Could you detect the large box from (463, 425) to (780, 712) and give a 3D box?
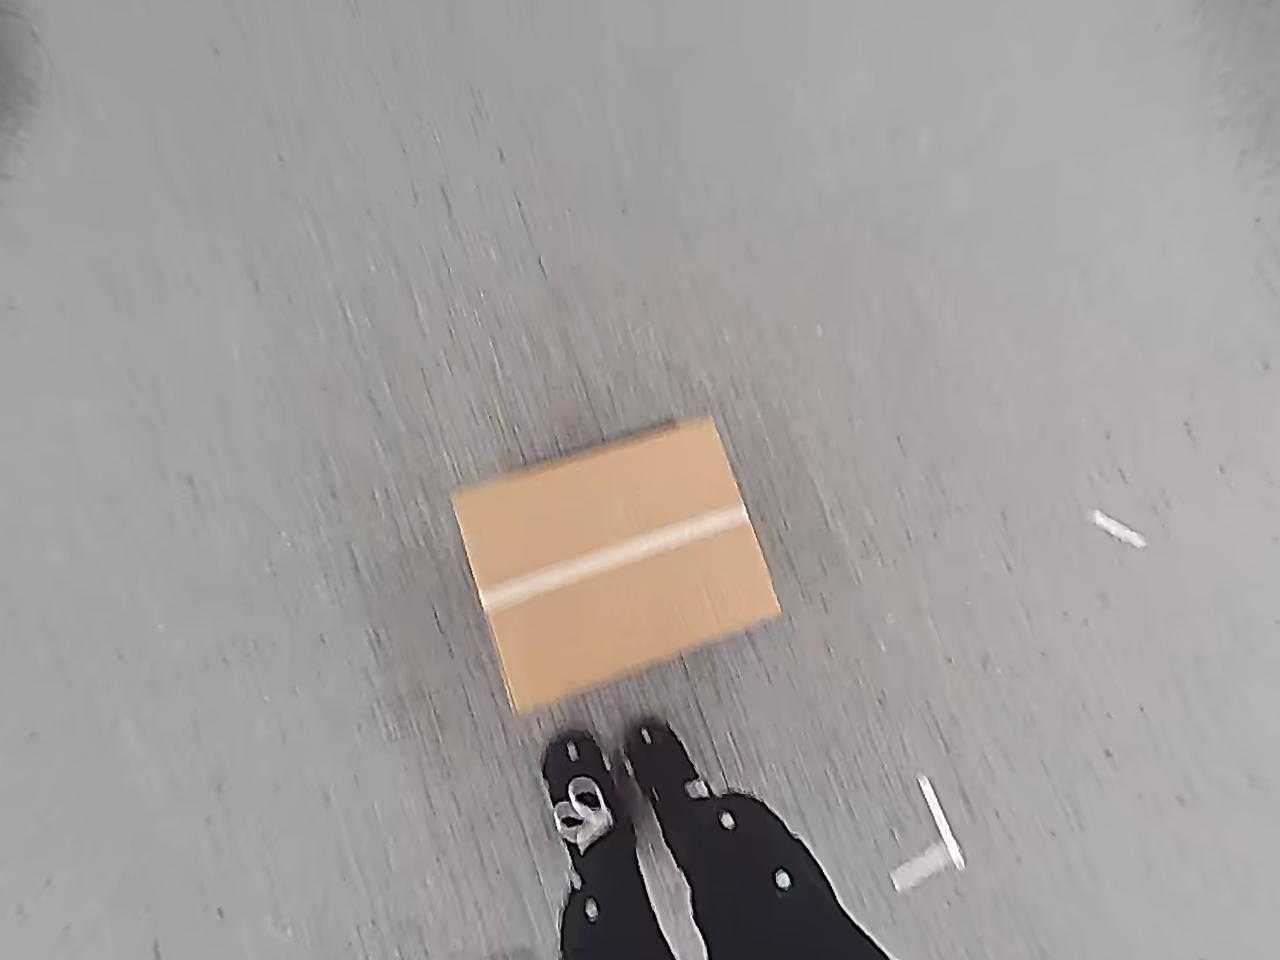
[{"bbox_3d":[-0.044,0.142,0.933,0.408,0.320,0.320,-17,84,-11],"label":"large box"}]
